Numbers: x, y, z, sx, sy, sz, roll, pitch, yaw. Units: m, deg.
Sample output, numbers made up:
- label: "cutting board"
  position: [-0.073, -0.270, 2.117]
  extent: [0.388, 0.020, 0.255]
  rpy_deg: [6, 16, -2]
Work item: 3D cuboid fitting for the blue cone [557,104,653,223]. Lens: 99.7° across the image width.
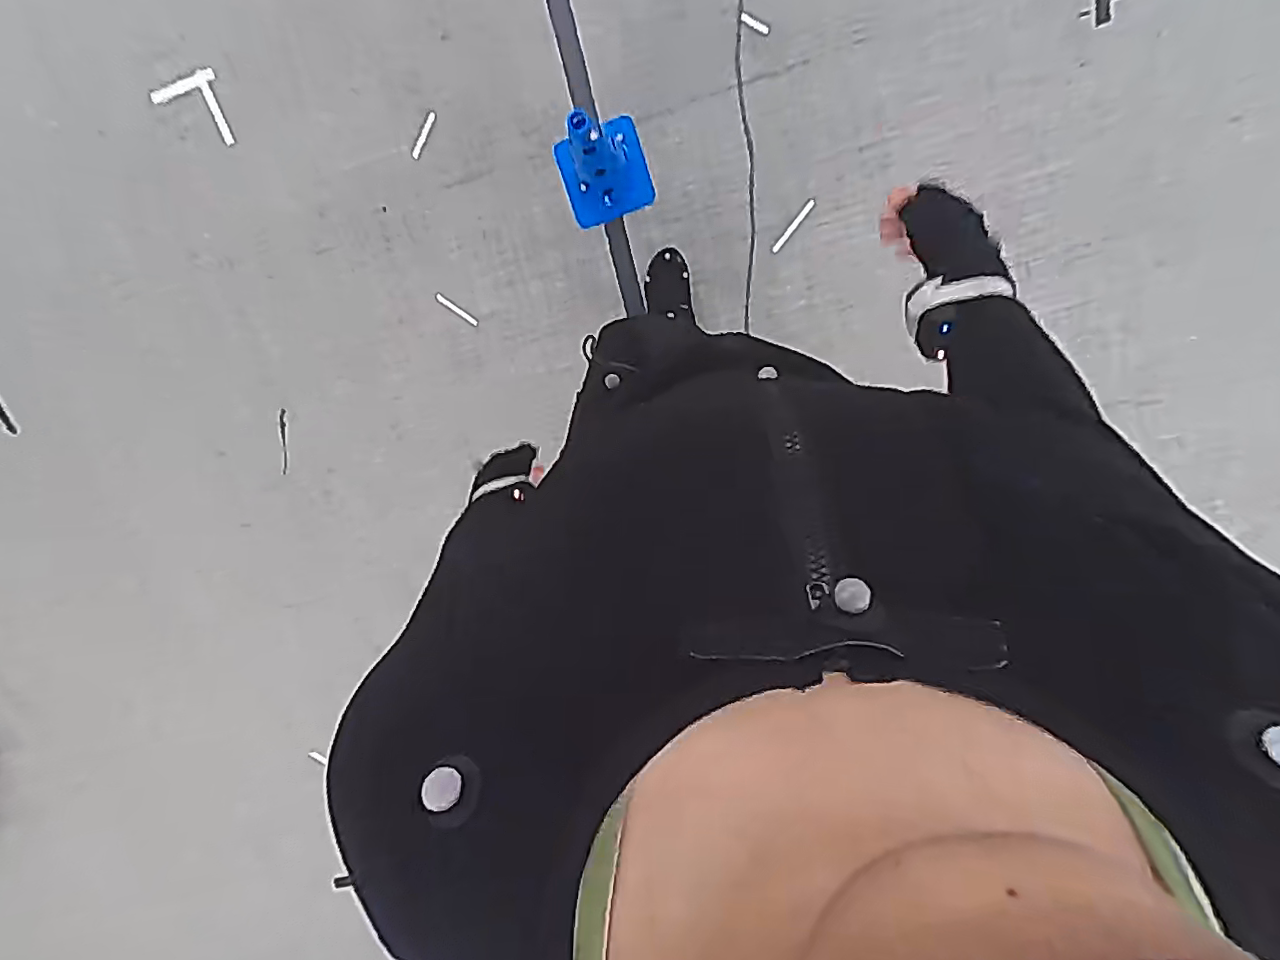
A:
- label: "blue cone"
  position: [-0.098, -0.671, 1.100]
  extent: [0.192, 0.380, 0.193]
  rpy_deg: [-19, 103, 9]
